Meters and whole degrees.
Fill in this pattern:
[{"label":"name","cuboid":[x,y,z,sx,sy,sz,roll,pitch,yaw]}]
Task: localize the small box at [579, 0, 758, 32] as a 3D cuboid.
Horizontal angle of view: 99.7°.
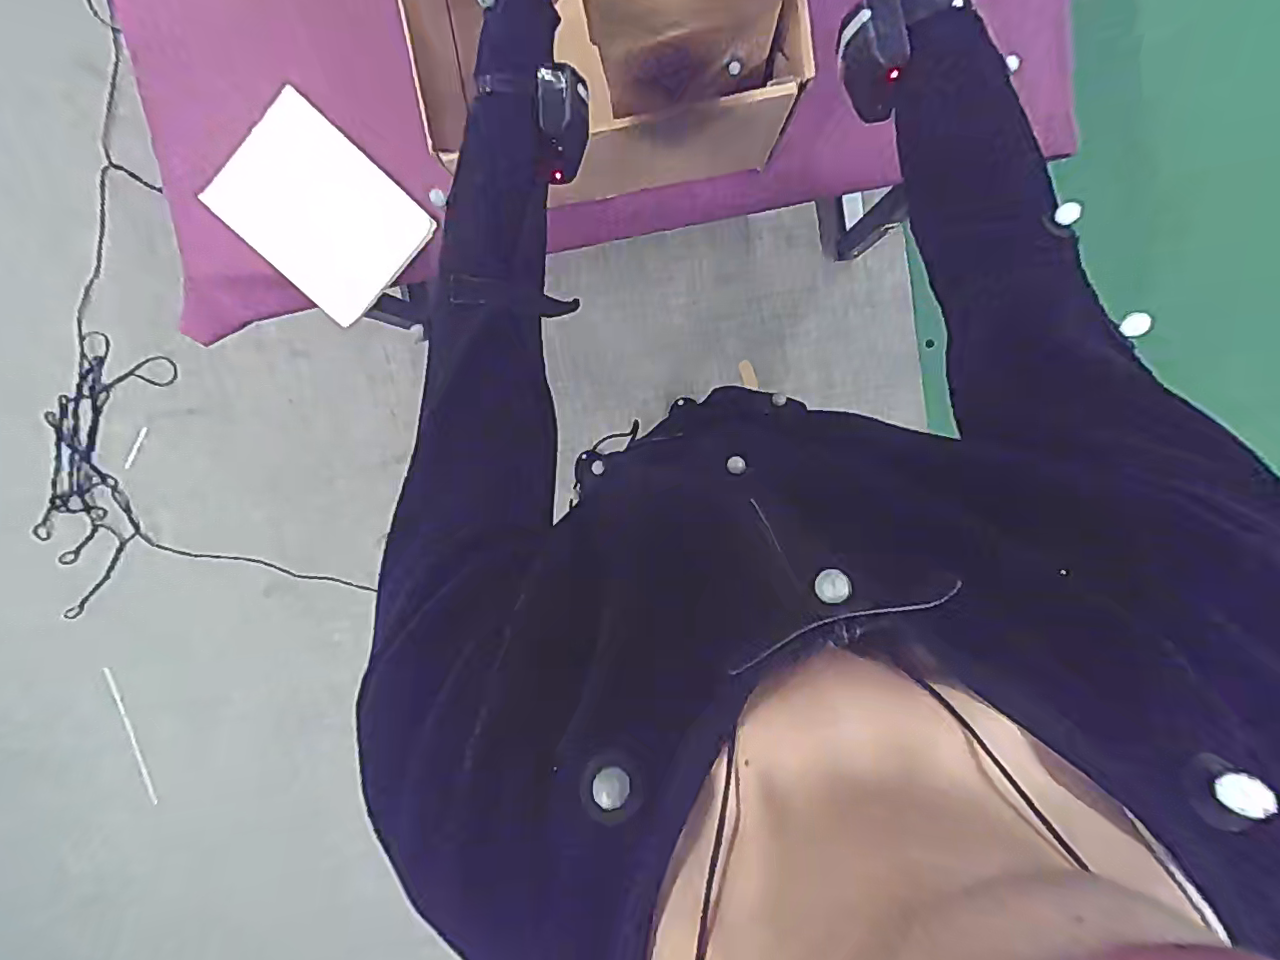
[{"label":"small box","cuboid":[0.020,-0.490,0.409,0.179,0.176,0.168,-9,95,3]}]
